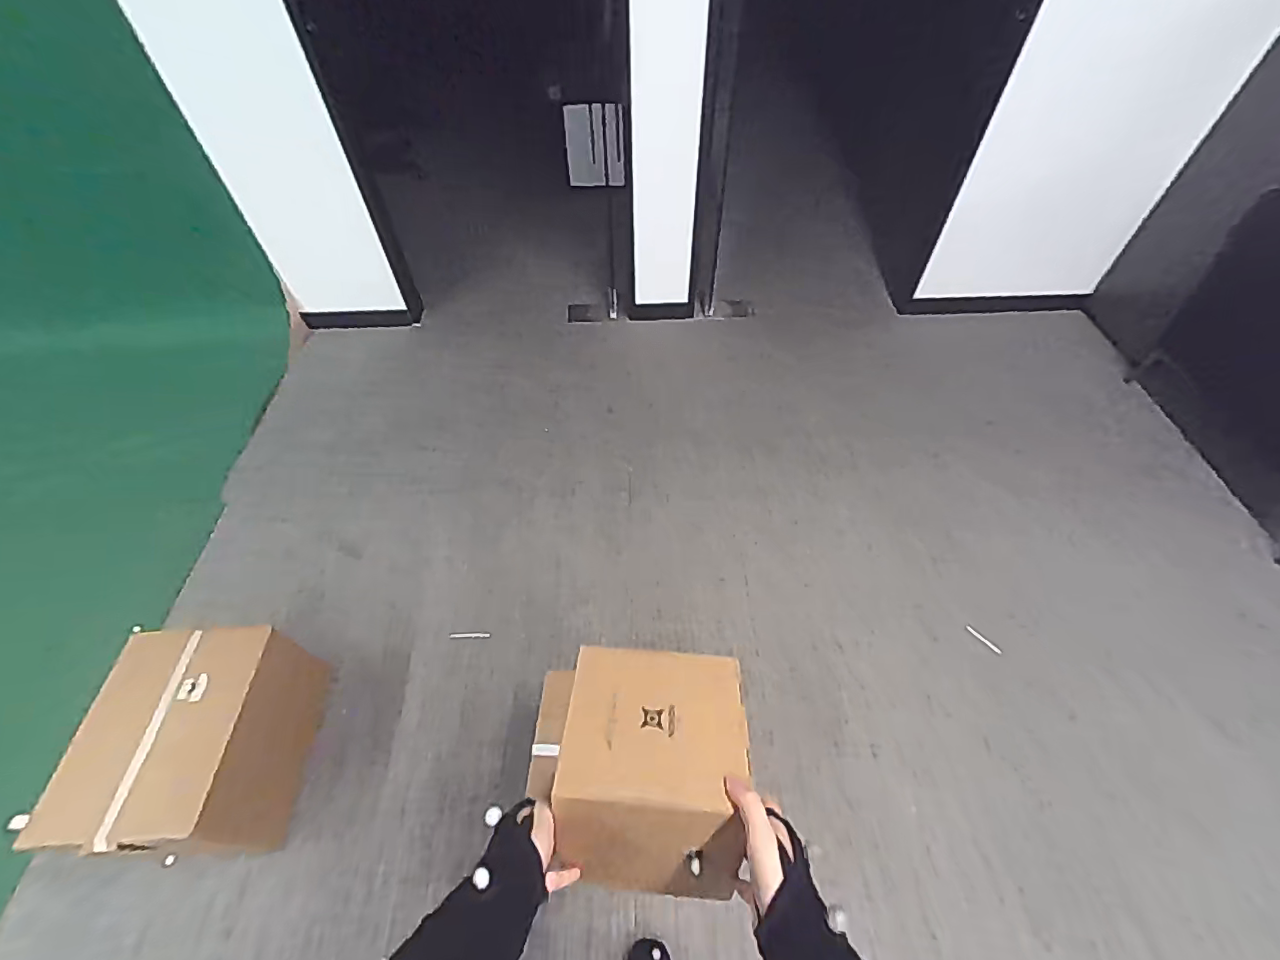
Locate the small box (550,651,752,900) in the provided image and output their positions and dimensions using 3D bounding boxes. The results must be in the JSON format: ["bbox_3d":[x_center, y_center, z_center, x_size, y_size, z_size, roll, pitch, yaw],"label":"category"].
[{"bbox_3d":[0.011,0.307,0.568,0.179,0.176,0.168,4,31,2],"label":"small box"}]

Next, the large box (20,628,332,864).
[{"bbox_3d":[-0.958,0.586,1.196,0.320,0.320,0.408,-2,51,-1],"label":"large box"}]
